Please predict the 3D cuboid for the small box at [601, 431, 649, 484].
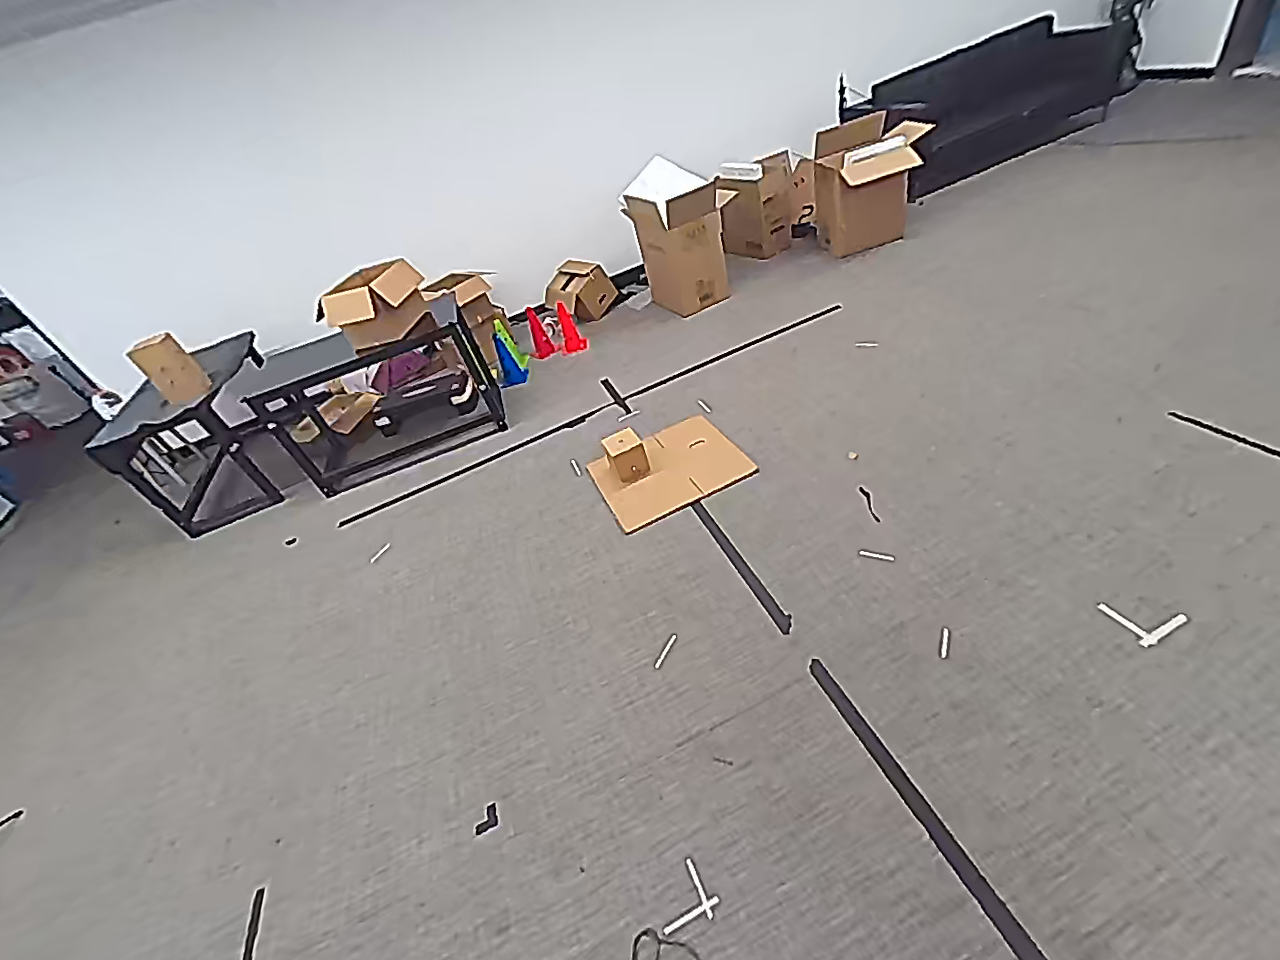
[{"bbox_3d":[-0.075,-0.111,2.718,0.168,0.176,0.179,-26,39,-9],"label":"small box"}]
